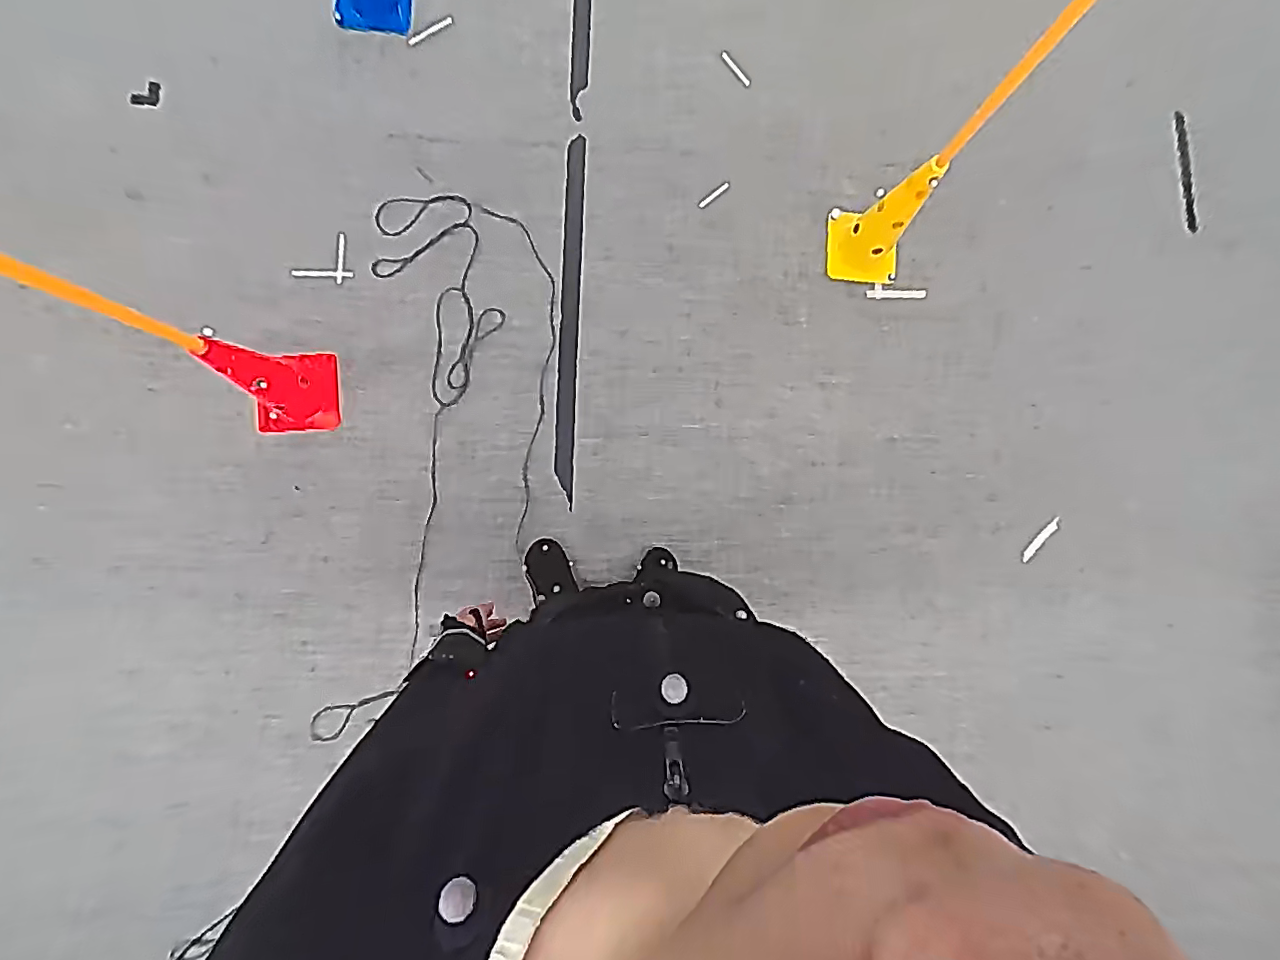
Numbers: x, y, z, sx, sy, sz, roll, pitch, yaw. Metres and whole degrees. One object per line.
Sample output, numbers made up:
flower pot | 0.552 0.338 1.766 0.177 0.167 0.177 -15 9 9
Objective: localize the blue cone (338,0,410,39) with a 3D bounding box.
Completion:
blue cone | -0.716 -1.328 1.326 0.193 0.380 0.192 4 84 -4

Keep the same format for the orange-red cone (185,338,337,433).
orange-red cone | -0.849 -0.233 1.187 0.199 0.360 0.198 -4 85 -6
